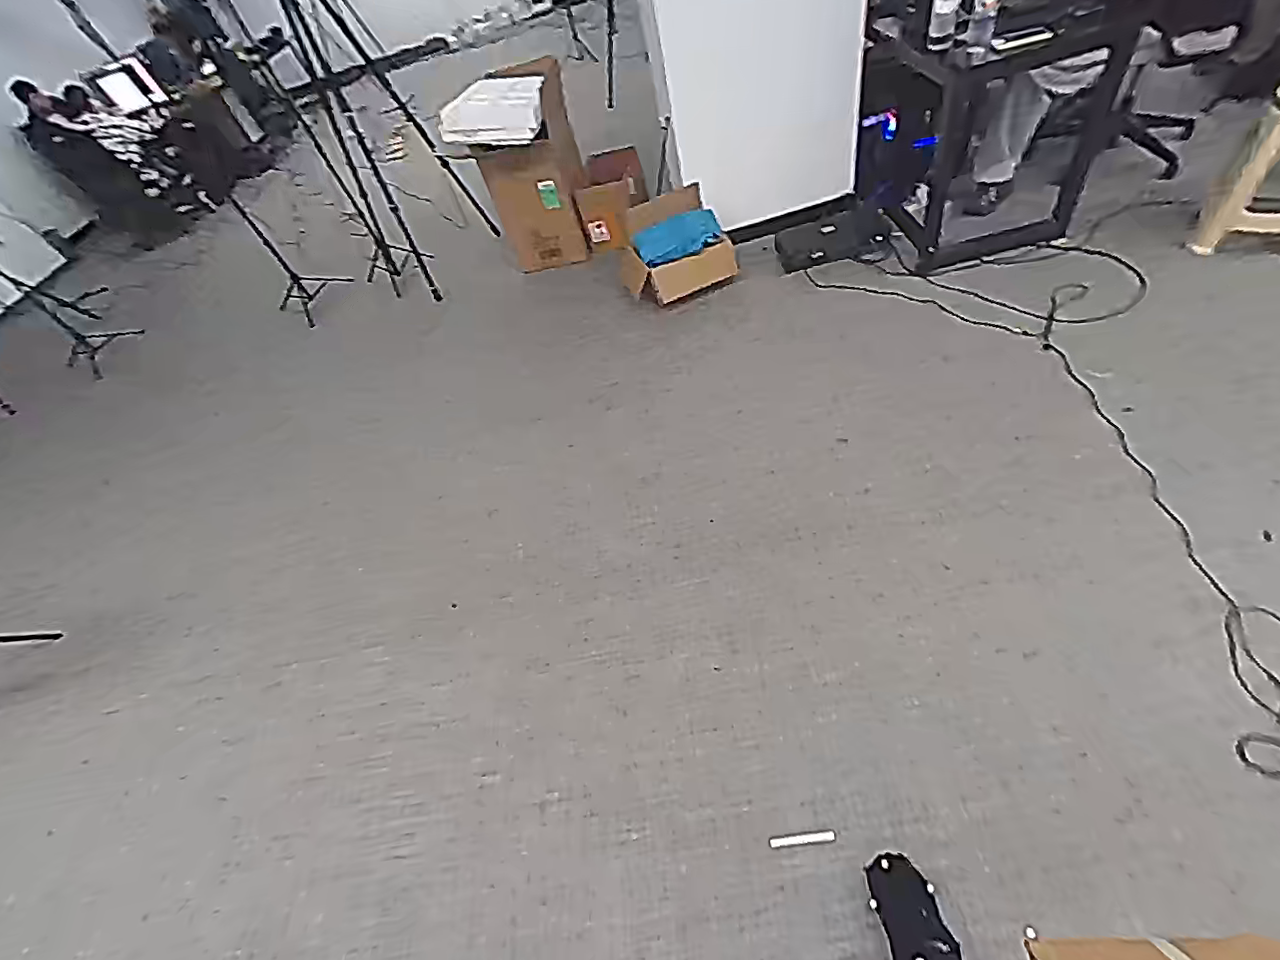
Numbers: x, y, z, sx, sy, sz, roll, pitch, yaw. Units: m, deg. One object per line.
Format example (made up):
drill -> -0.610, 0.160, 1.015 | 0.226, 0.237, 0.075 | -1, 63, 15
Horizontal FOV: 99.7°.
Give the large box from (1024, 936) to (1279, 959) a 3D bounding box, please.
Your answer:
large box -> 0.654, 0.712, 0.498 | 0.320, 0.408, 0.320 | -9, 72, 12
